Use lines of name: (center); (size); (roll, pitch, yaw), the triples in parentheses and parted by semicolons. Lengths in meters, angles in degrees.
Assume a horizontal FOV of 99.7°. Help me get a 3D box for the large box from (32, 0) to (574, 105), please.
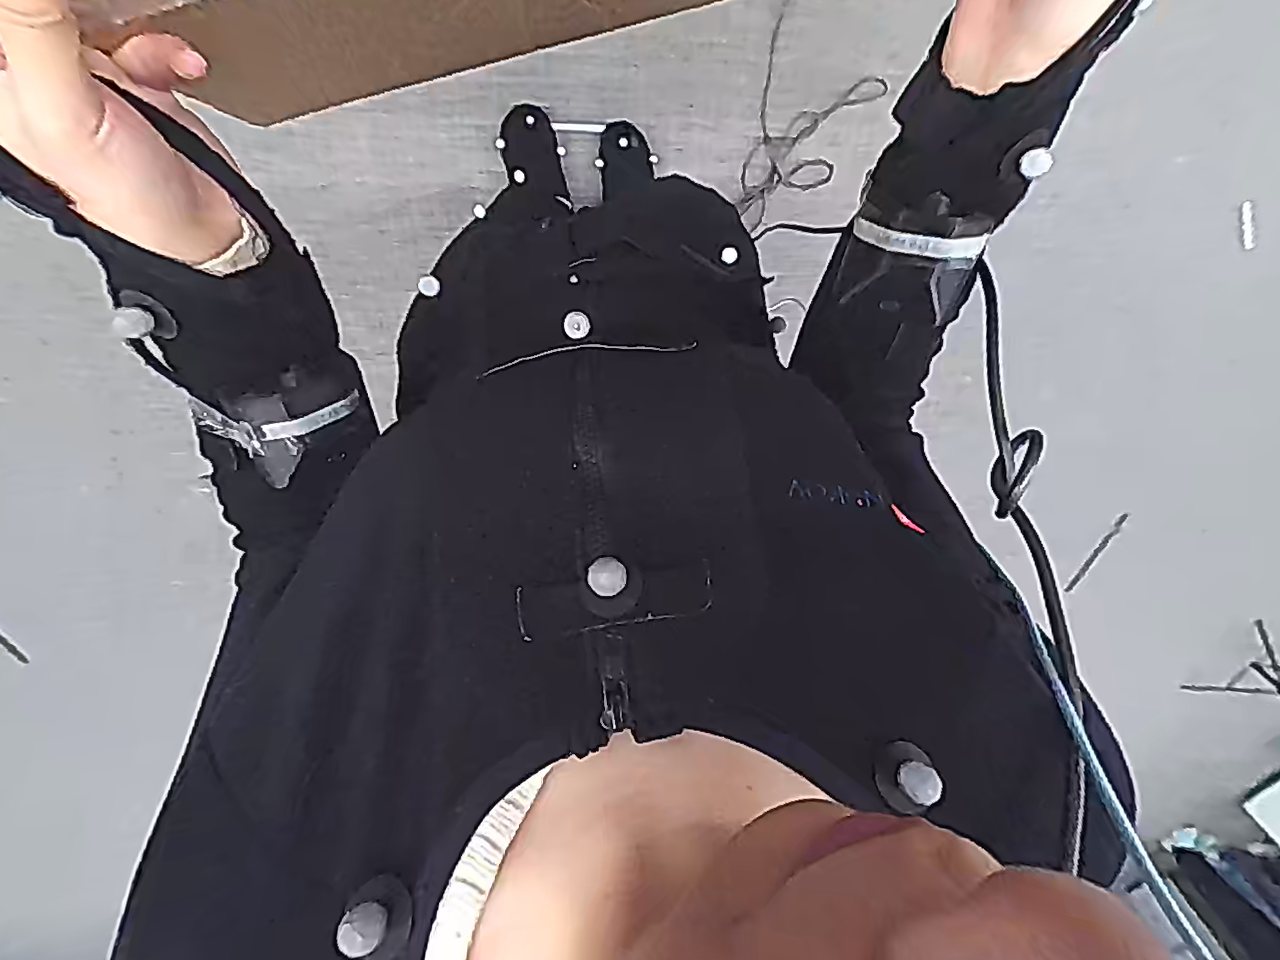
large box: (-0.060, -0.350, 0.109); (0.408, 0.320, 0.320); (-18, 114, 0)
